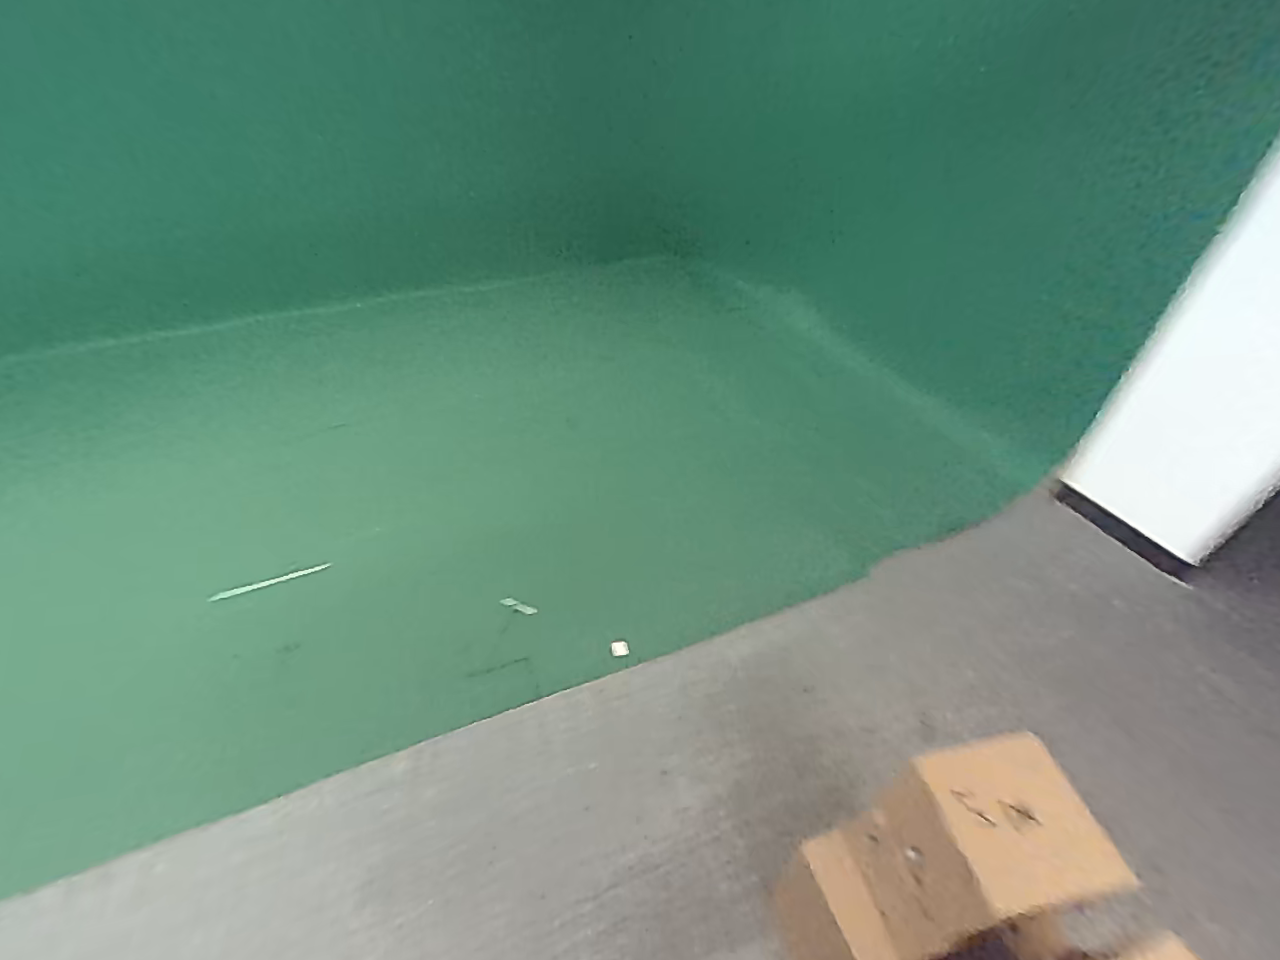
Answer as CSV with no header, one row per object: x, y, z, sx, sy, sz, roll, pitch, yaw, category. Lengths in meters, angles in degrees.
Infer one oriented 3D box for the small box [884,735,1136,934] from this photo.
0.451,0.456,0.697,0.179,0.176,0.168,-7,43,-6,small box
